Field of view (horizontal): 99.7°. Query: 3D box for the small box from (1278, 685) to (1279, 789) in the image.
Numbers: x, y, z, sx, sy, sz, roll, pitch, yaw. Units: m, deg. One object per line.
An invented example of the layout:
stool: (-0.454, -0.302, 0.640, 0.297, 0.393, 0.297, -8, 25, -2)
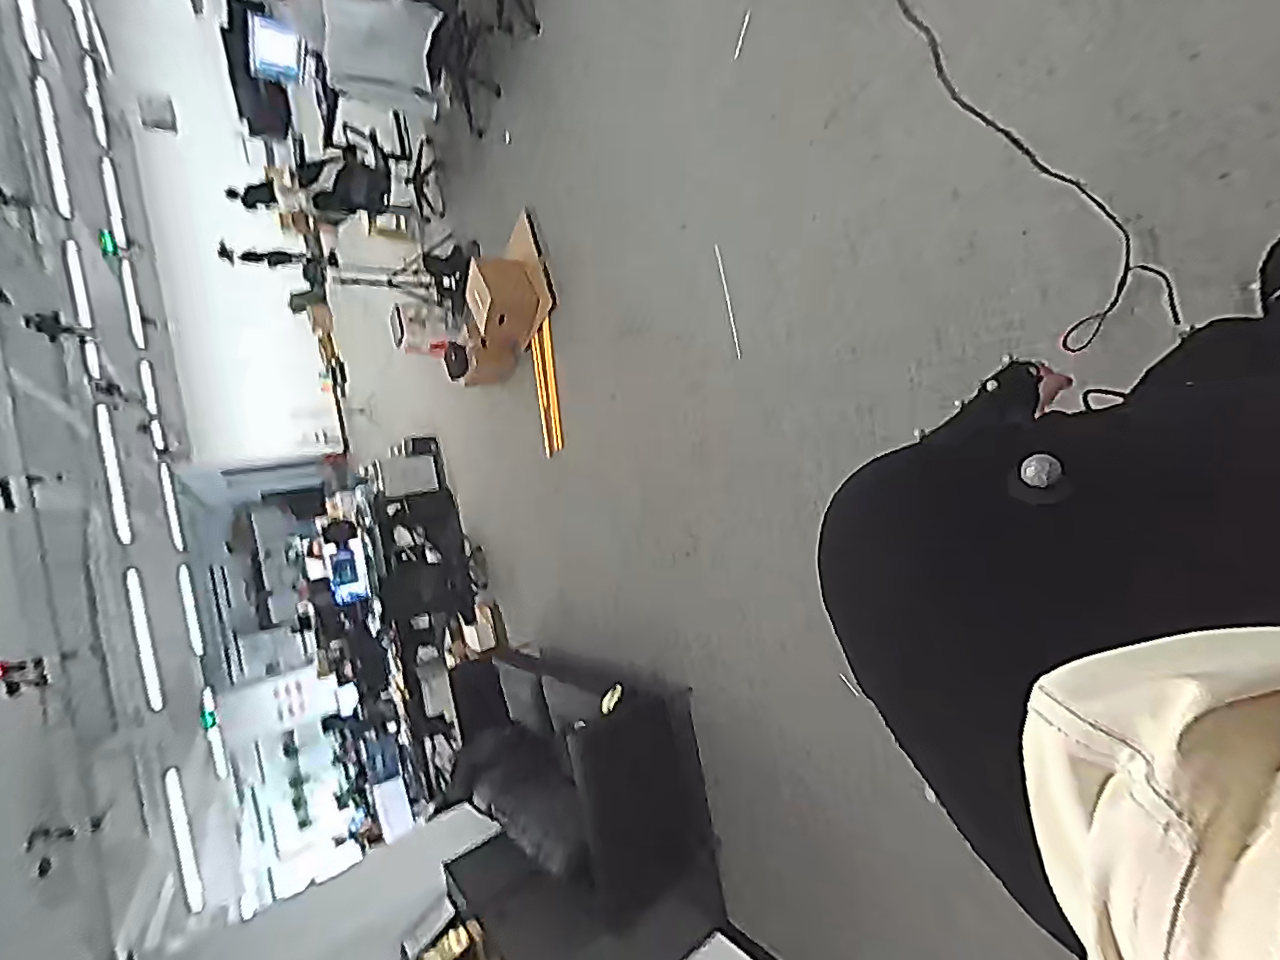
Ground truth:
small box: (1.154, 0.416, 0.866, 0.168, 0.176, 0.179, -1, 99, 53)
